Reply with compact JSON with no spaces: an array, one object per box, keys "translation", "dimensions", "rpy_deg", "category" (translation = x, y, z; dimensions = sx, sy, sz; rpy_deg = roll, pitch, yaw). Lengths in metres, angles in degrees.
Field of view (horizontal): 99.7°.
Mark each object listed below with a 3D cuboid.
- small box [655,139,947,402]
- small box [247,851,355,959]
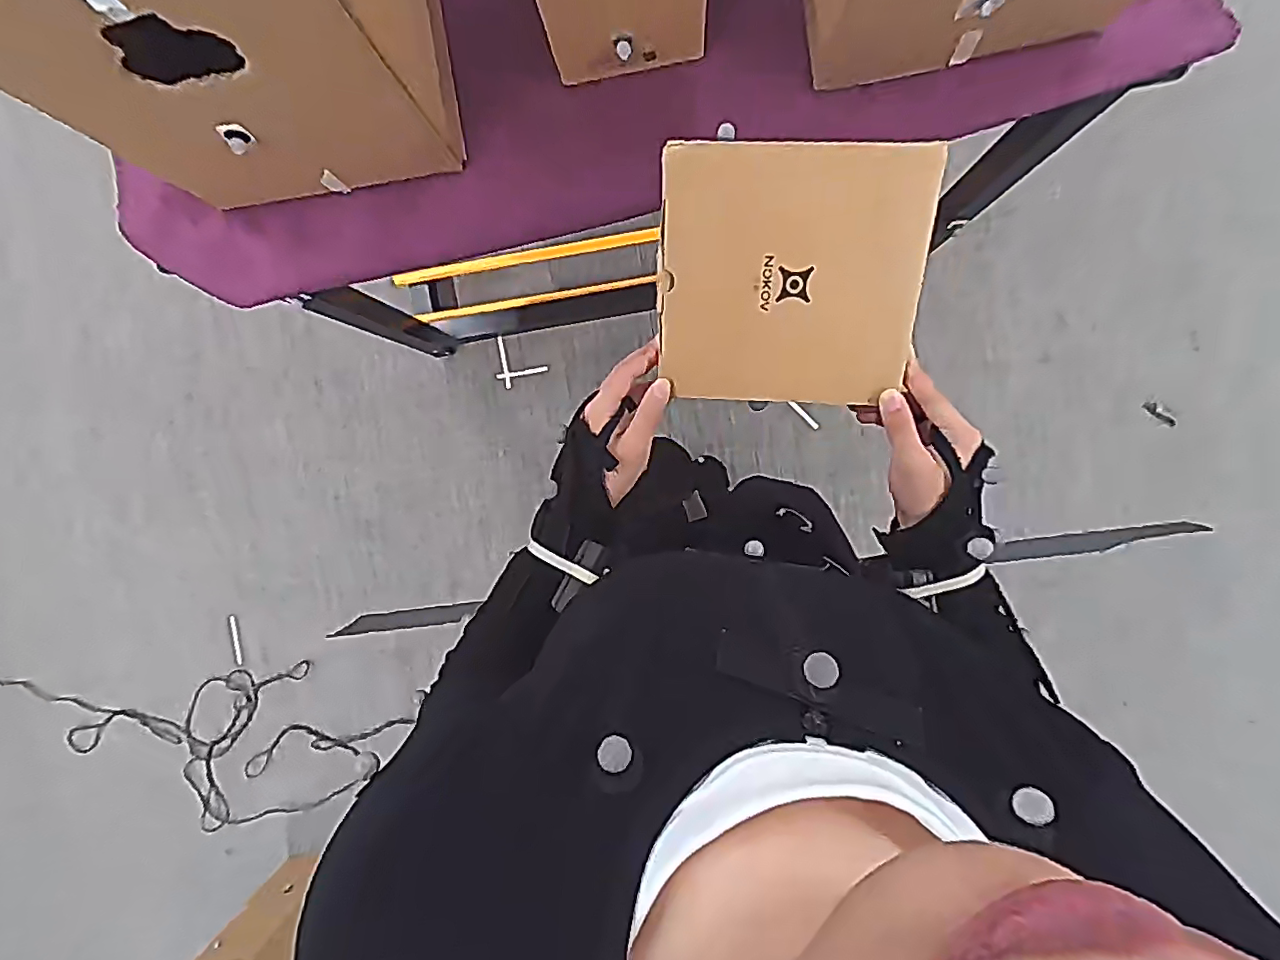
[{"translation":[0.108,-0.168,0.439],"dimensions":[0.179,0.176,0.168],"rpy_deg":[4,113,6],"category":"small box"},{"translation":[-0.887,1.126,1.437],"dimensions":[0.179,0.176,0.168],"rpy_deg":[-10,92,5],"category":"small box"}]
